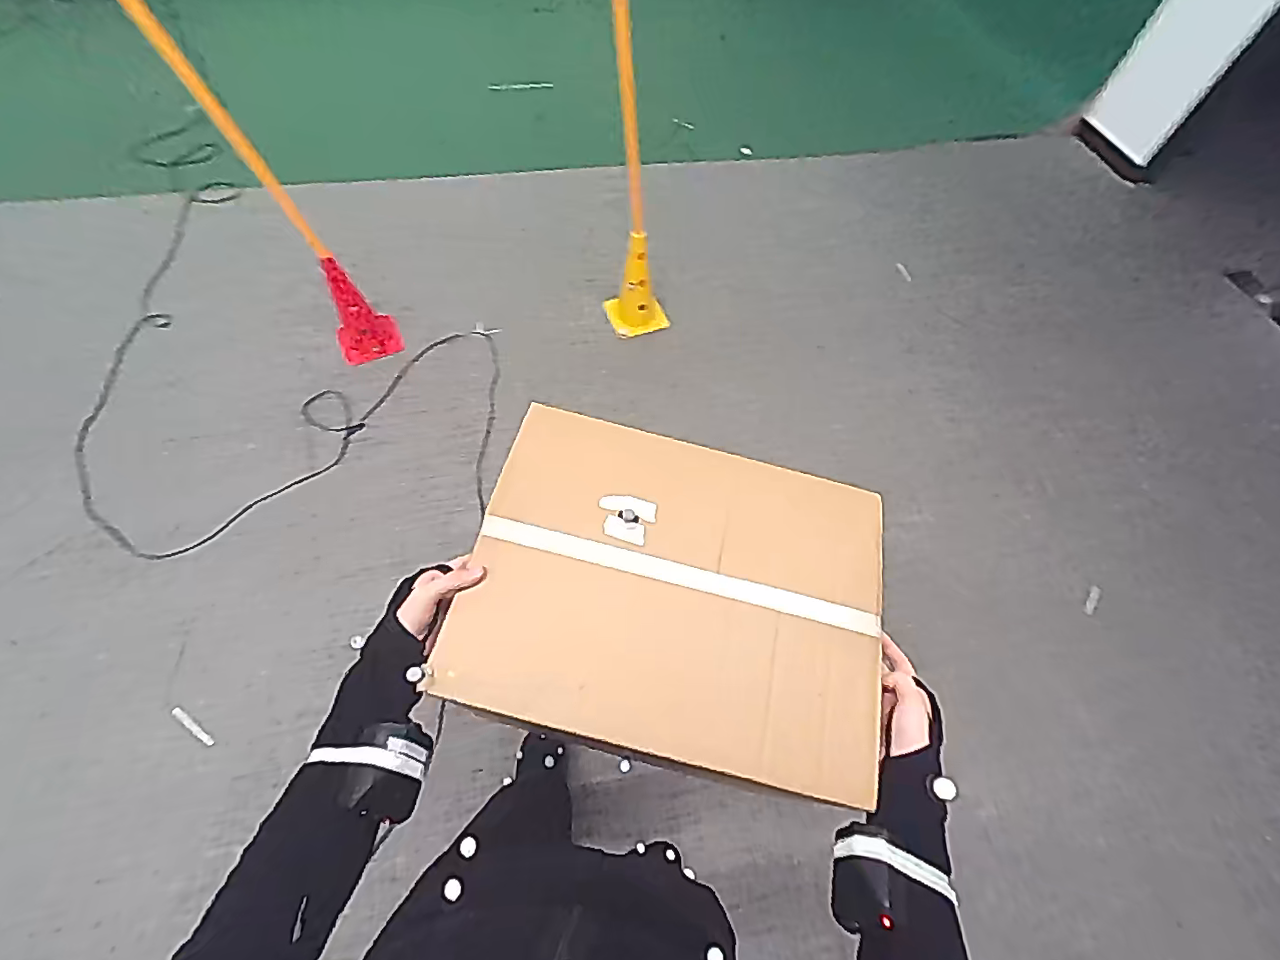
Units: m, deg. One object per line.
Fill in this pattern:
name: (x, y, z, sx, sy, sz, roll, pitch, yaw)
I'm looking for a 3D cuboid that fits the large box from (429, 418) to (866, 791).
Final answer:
large box: (0.022, 0.168, 0.679, 0.408, 0.320, 0.320, 13, 61, 1)
